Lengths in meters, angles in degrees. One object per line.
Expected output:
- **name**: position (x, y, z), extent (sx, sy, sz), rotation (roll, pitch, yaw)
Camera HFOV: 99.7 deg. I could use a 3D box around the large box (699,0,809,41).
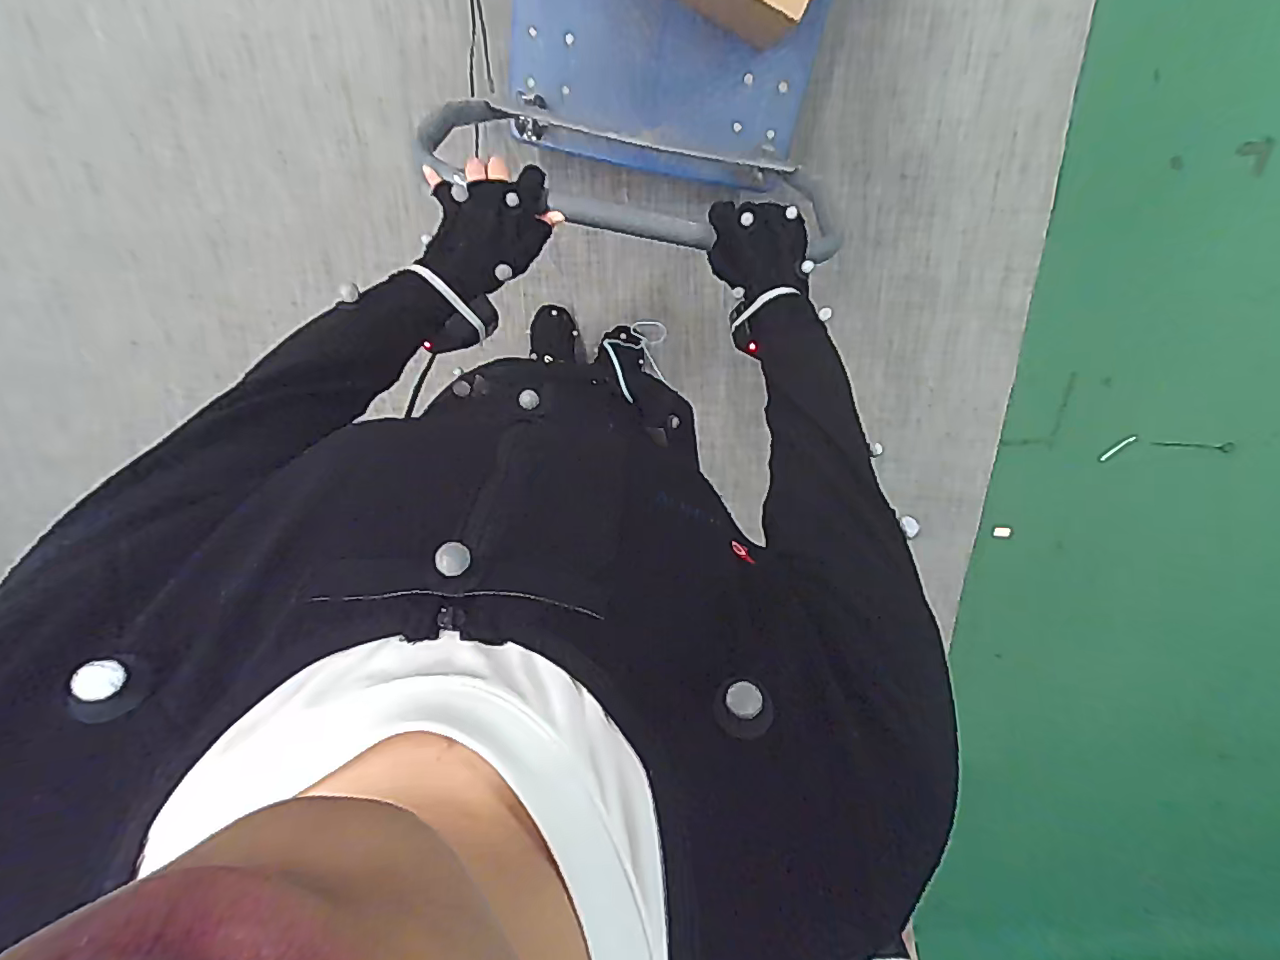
- **large box**: position (0.120, -0.927, 0.785), extent (0.408, 0.320, 0.320), rotation (23, 121, -11)
